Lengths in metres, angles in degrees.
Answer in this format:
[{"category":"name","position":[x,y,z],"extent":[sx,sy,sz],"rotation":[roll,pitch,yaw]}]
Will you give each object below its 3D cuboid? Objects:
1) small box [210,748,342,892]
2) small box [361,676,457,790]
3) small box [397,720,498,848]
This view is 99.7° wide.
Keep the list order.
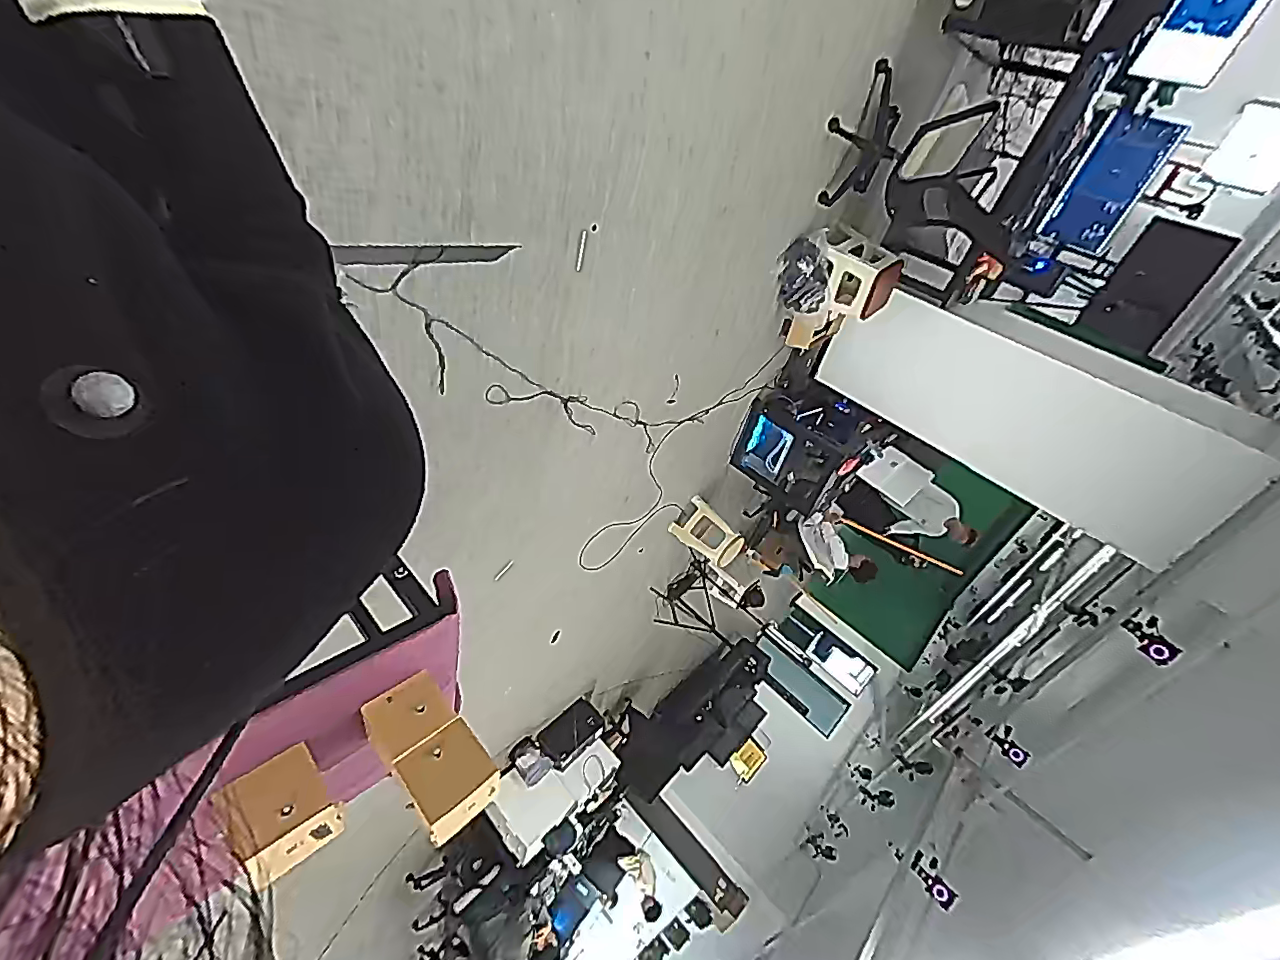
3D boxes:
[{"category":"small box","position":[-0.778,0.722,1.164],"extent":[0.179,0.176,0.168],"rotation":[-26,144,-40]},{"category":"small box","position":[-0.578,0.625,1.358],"extent":[0.168,0.176,0.179],"rotation":[-28,146,-39]},{"category":"small box","position":[-0.461,0.720,1.293],"extent":[0.179,0.176,0.168],"rotation":[-28,146,-37]}]
